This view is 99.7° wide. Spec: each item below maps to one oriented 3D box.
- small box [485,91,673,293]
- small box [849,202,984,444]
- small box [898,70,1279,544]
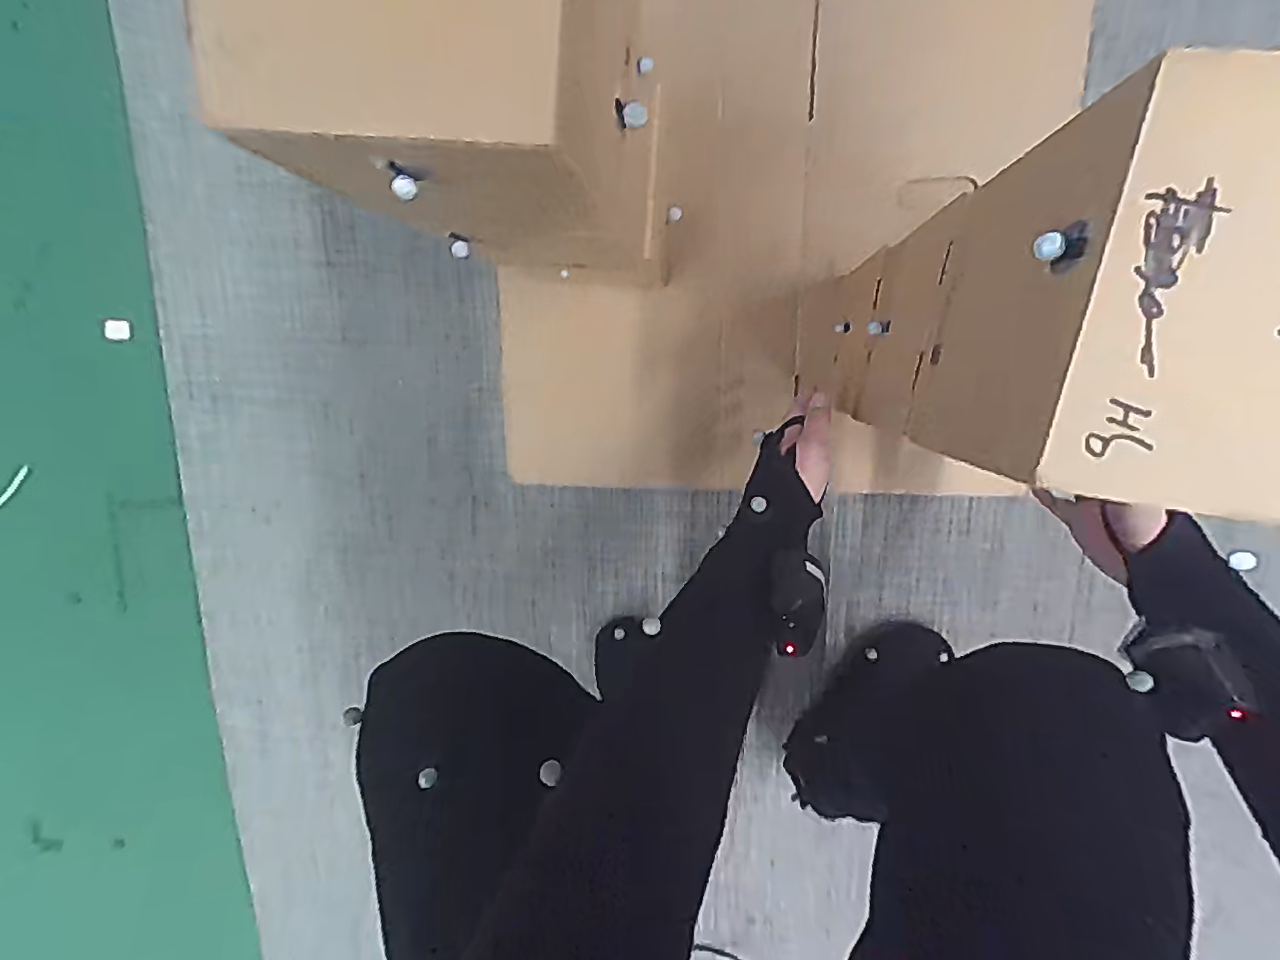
[{"bbox_3d":[-0.061,-0.316,0.623,0.179,0.176,0.168,5,102,7],"label":"small box"},{"bbox_3d":[0.291,-0.105,0.440,0.179,0.176,0.168,11,102,8],"label":"small box"},{"bbox_3d":[0.265,-0.071,0.282,0.179,0.176,0.168,10,102,7],"label":"small box"}]
